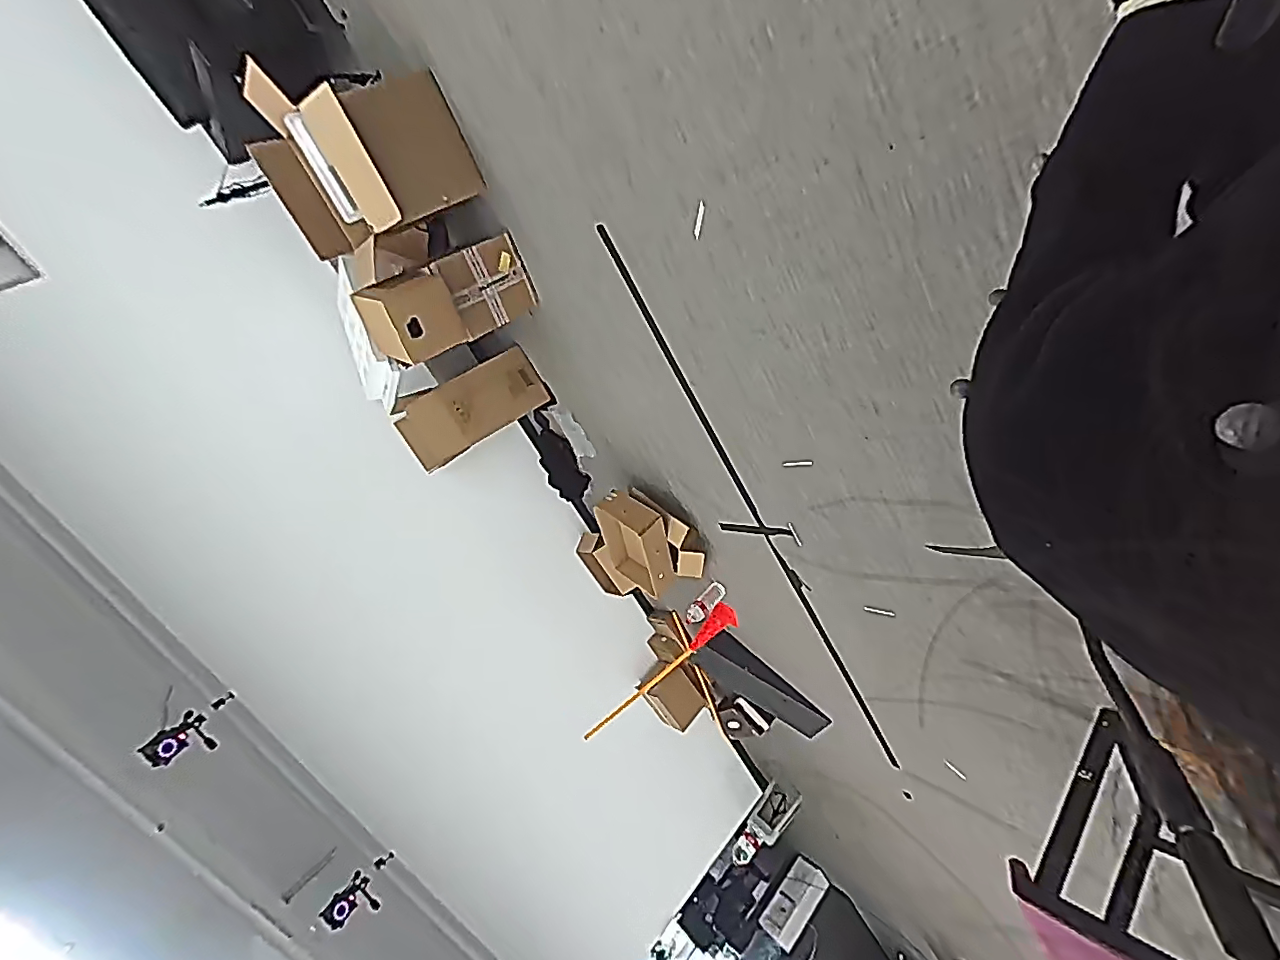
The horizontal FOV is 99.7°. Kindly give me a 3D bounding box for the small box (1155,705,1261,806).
[{"bbox_3d":[1.669,0.798,1.590,0.179,0.176,0.168,18,138,46],"label":"small box"}]
